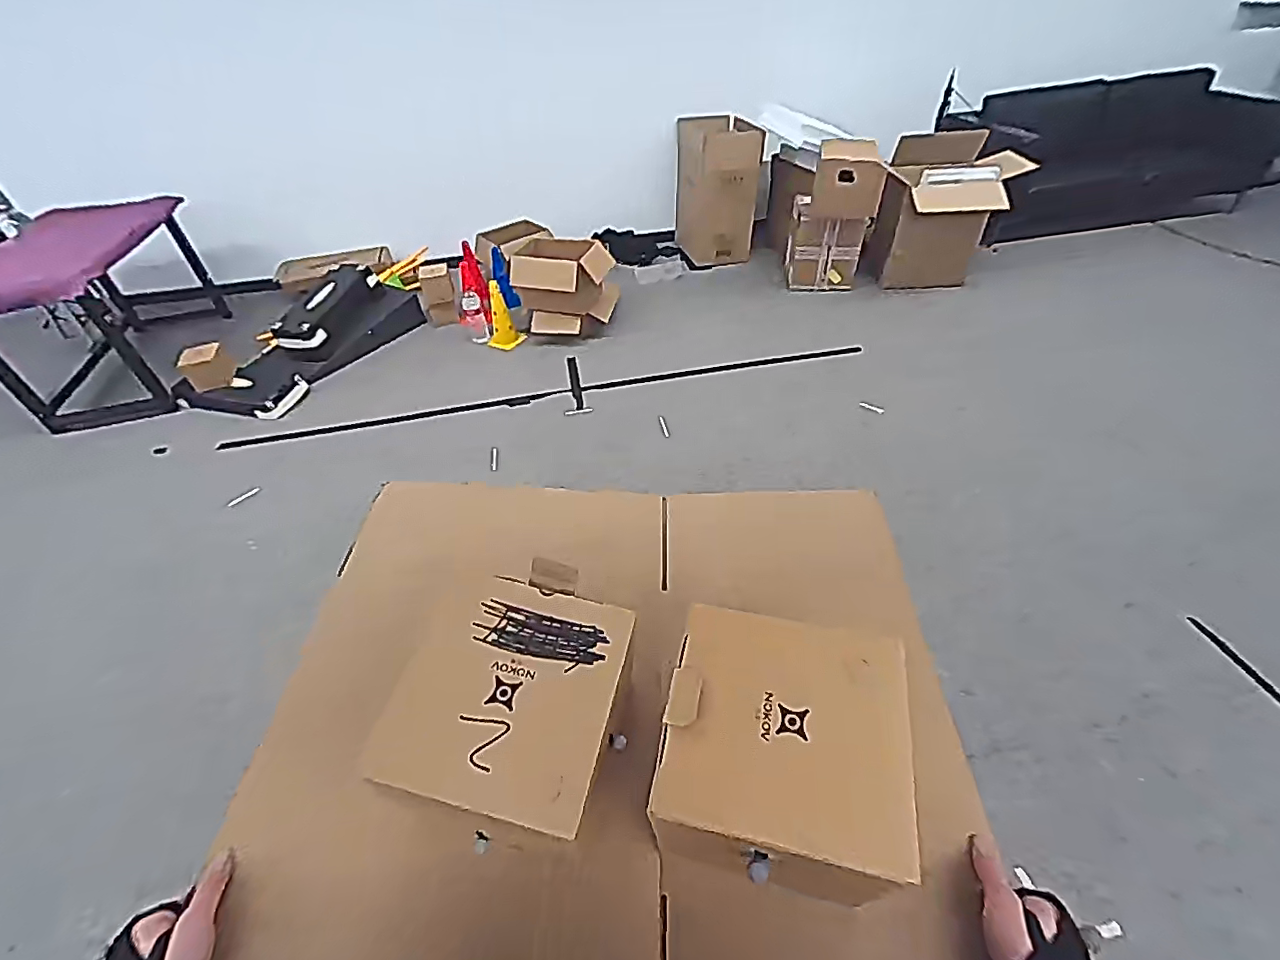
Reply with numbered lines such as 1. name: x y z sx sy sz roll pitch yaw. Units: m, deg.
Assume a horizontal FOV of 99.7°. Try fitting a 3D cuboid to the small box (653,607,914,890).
1. small box: 0.120 0.237 0.475 0.179 0.176 0.168 7 50 14
